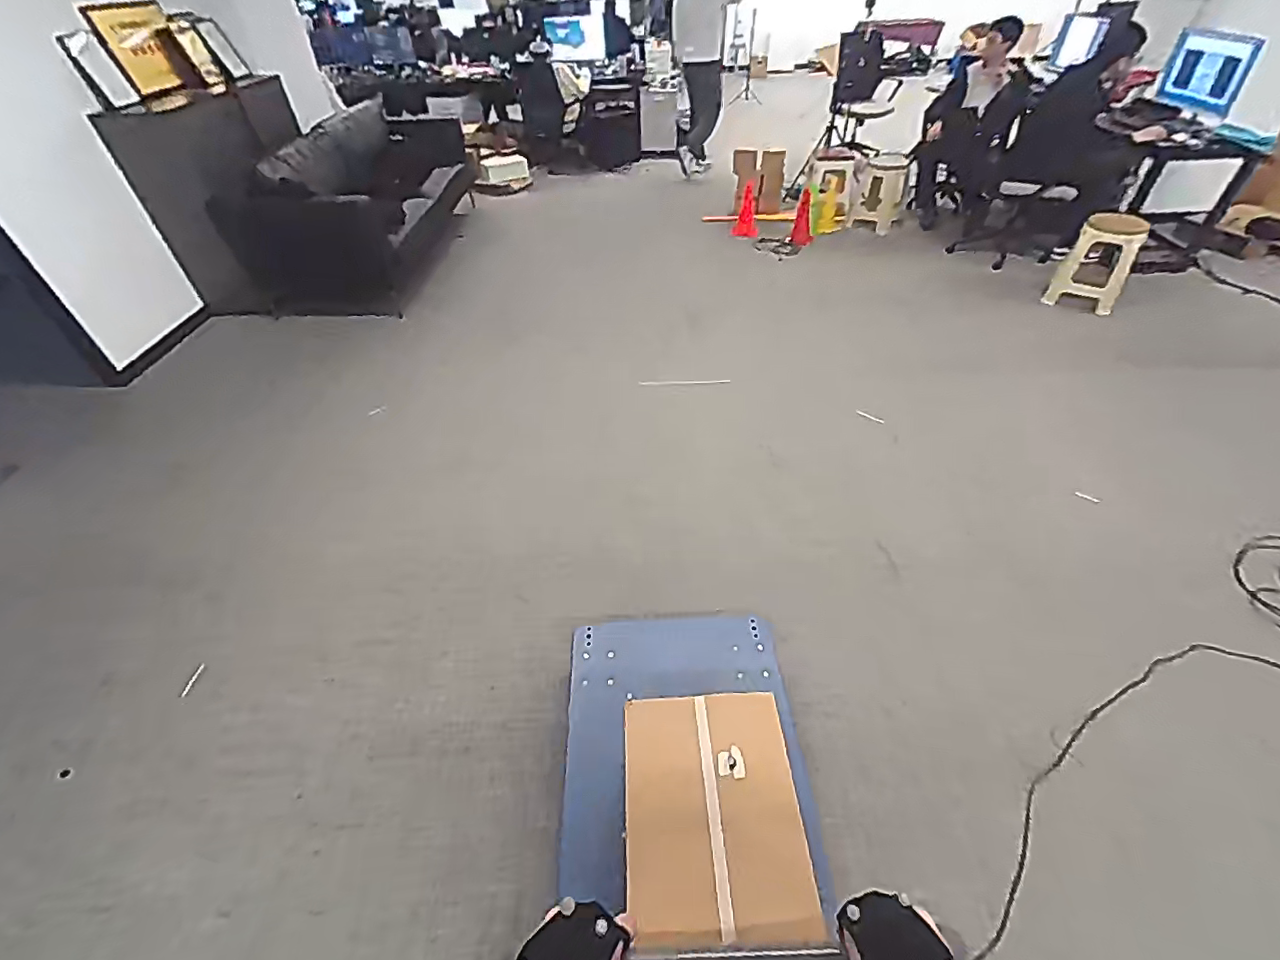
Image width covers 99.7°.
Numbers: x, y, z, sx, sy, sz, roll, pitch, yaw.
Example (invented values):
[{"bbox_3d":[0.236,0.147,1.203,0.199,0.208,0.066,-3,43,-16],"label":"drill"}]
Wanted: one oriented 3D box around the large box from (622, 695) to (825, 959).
[{"bbox_3d":[0.133,0.704,1.081,0.320,0.320,0.408,-3,42,-1],"label":"large box"}]
